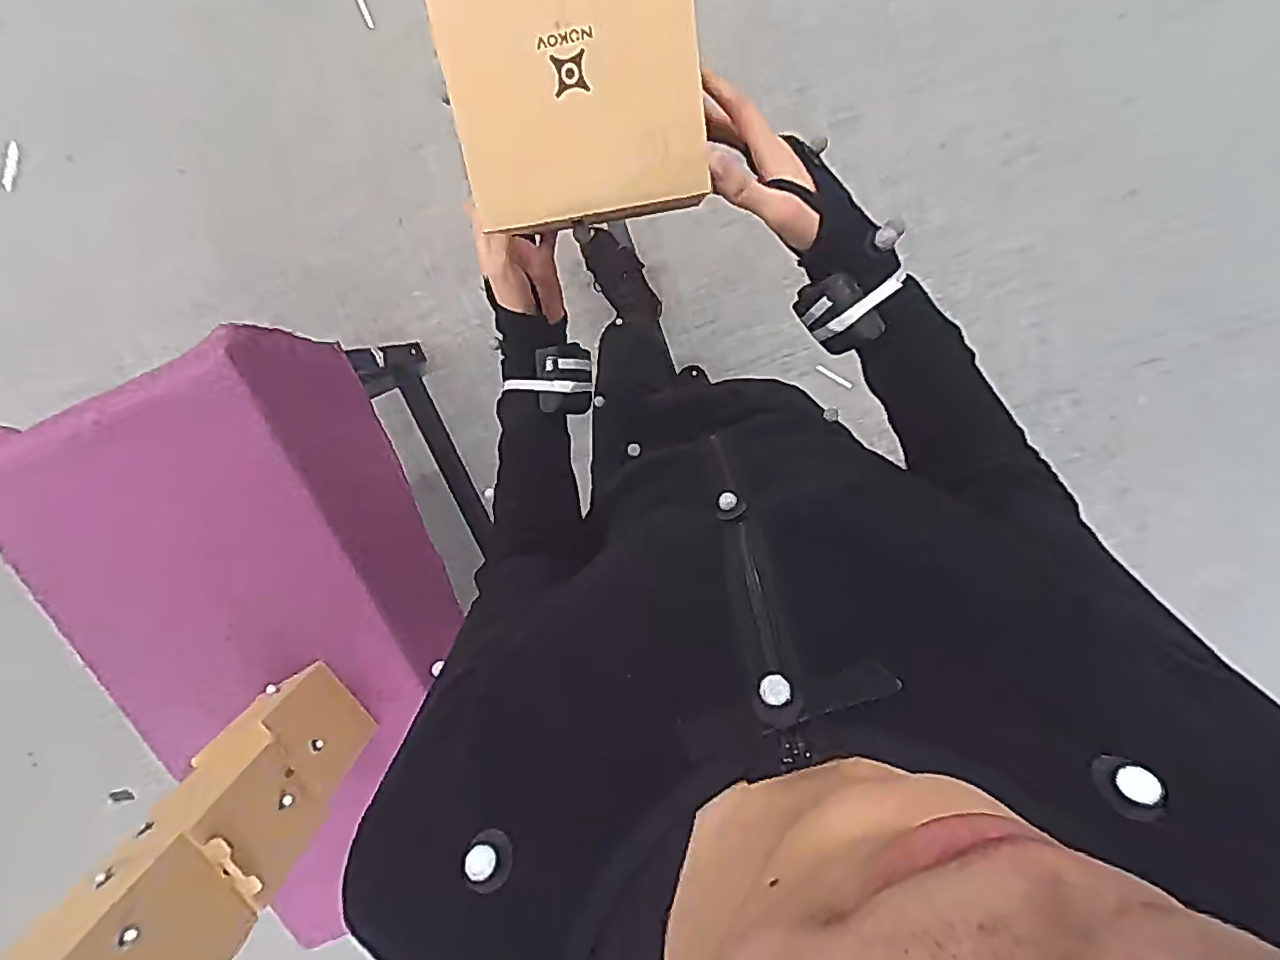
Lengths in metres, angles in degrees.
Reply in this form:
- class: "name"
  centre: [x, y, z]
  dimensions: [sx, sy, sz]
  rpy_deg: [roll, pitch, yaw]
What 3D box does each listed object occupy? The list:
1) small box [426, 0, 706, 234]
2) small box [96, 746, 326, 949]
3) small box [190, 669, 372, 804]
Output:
- class: "small box"
  centre: [-0.040, -0.295, 0.416]
  dimensions: [0.168, 0.176, 0.179]
  rpy_deg: [-7, 112, 6]
- class: "small box"
  centre: [-0.632, 0.549, 0.823]
  dimensions: [0.179, 0.176, 0.168]
  rpy_deg: [-25, 105, 9]
- class: "small box"
  centre: [-0.628, 0.480, 0.974]
  dimensions: [0.168, 0.176, 0.179]
  rpy_deg: [-30, 102, 10]
